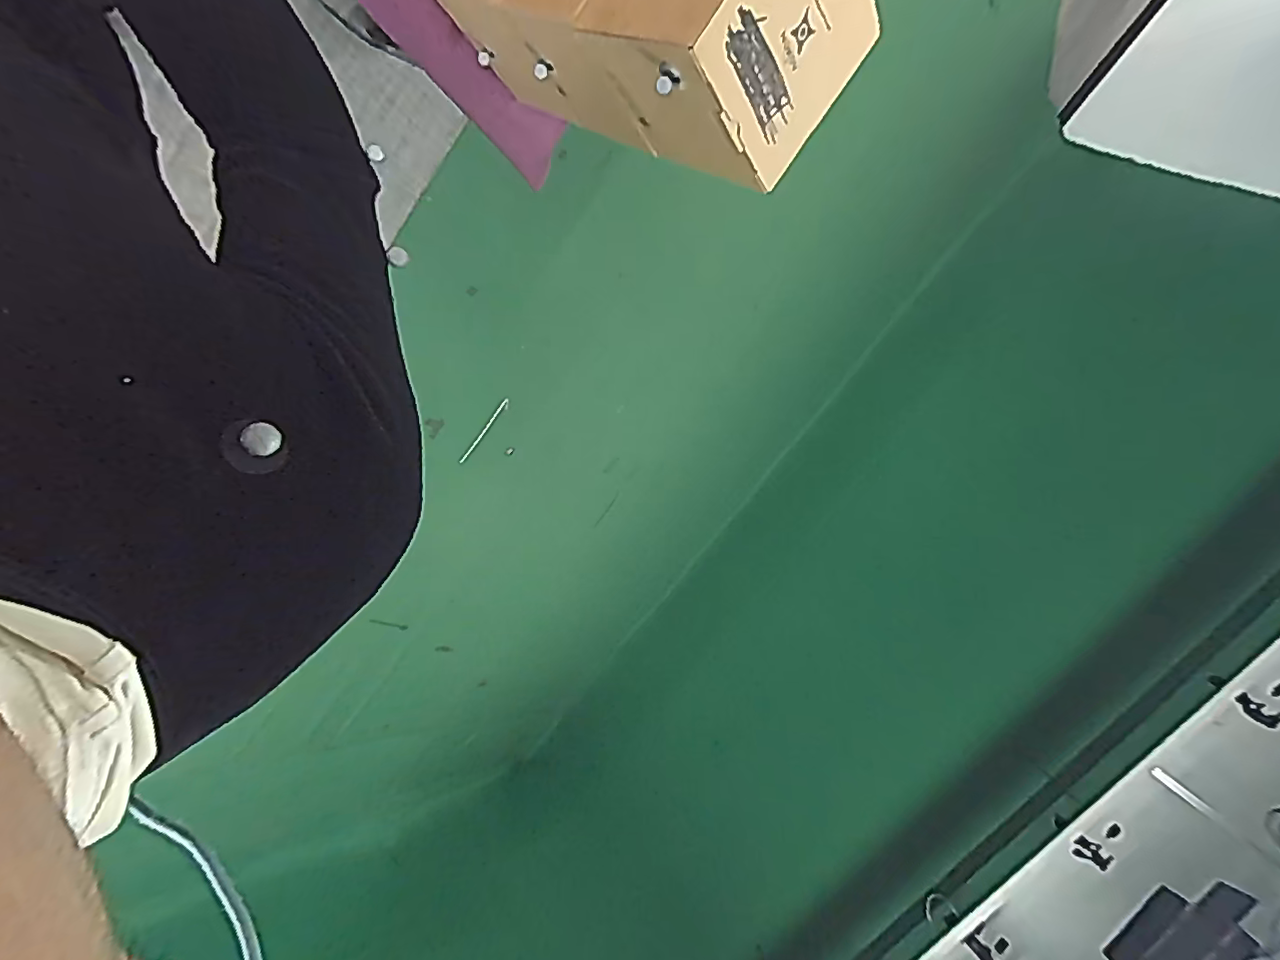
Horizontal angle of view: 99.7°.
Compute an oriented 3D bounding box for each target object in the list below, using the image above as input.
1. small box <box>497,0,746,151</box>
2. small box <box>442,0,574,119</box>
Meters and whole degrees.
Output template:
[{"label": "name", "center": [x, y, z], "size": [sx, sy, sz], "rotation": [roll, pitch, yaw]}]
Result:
[{"label": "small box", "center": [-0.021, -0.512, 0.589], "size": [0.179, 0.176, 0.168], "rotation": [-51, 147, 7]}, {"label": "small box", "center": [-0.125, -0.606, 0.673], "size": [0.168, 0.176, 0.179], "rotation": [-51, 148, 6]}]
